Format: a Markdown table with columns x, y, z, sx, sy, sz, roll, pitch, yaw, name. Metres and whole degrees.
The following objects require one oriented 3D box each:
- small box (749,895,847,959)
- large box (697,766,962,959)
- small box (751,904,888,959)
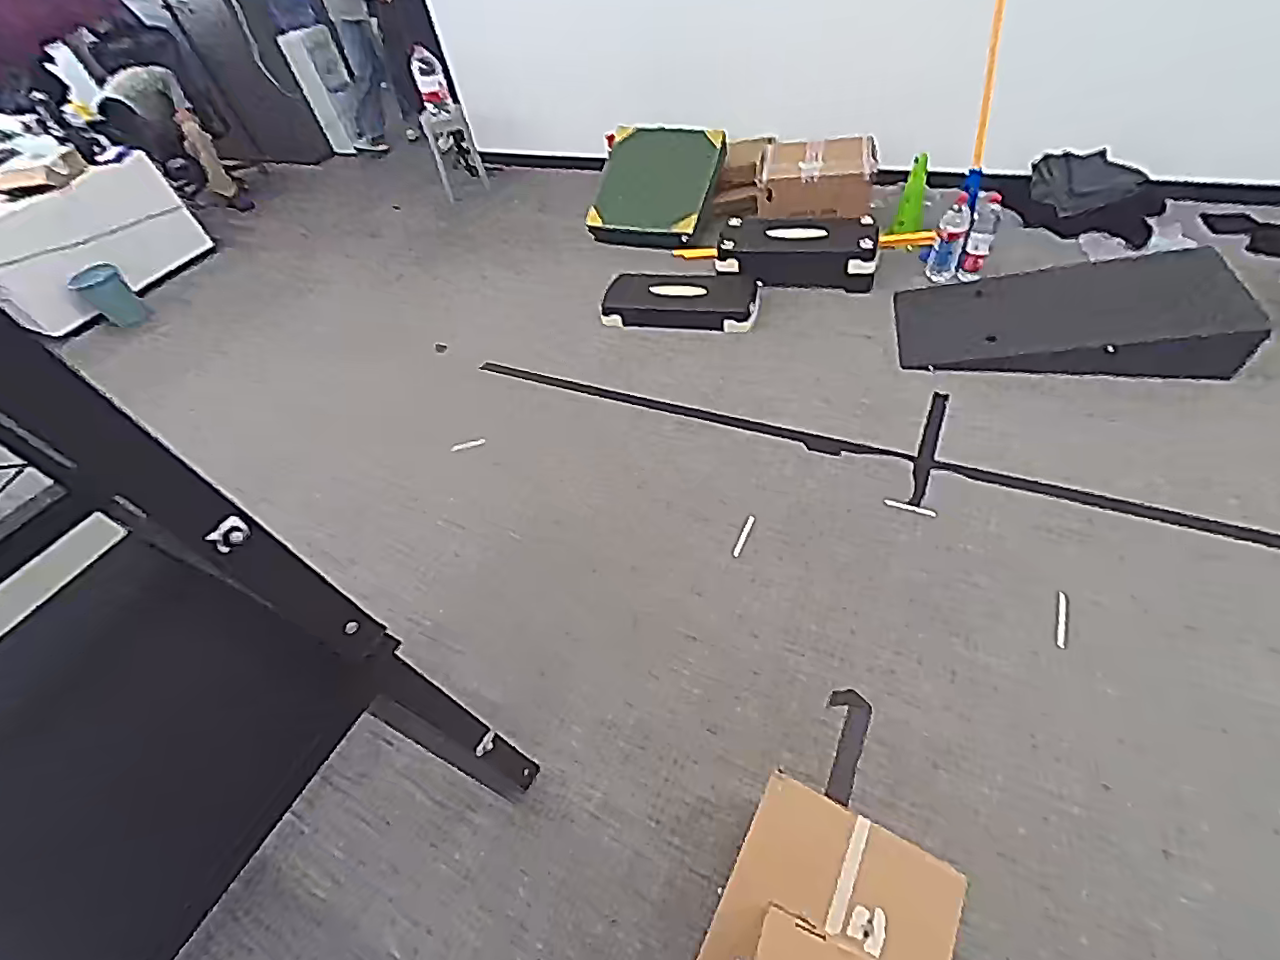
| x | y | z | sx | sy | sz | roll | pitch | yaw | name |
| --- | --- | --- | --- | --- | --- | --- | --- | --- | --- |
| 0.213 | 0.672 | 0.683 | 0.168 | 0.176 | 0.179 | 19 | 57 | 26 | small box |
| 0.286 | 0.784 | 0.899 | 0.320 | 0.320 | 0.408 | 21 | 56 | 24 | large box |
| 0.181 | 0.567 | 0.532 | 0.168 | 0.176 | 0.179 | 14 | 50 | 21 | small box |
